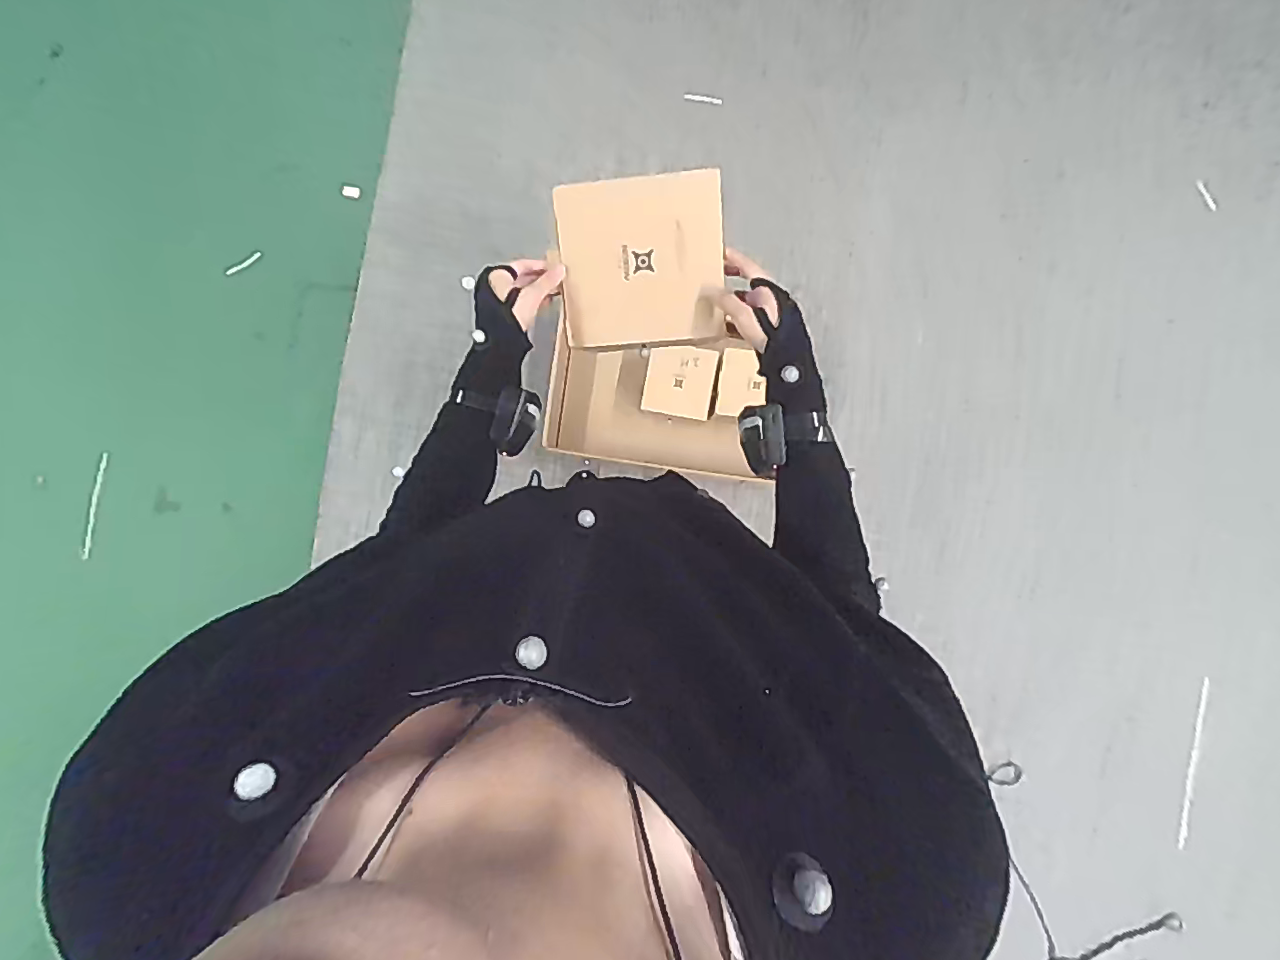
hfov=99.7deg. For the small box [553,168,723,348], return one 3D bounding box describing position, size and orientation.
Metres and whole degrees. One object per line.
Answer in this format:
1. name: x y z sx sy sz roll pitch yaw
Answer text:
1. small box: 0.006 -0.247 0.644 0.179 0.176 0.168 -2 102 6
